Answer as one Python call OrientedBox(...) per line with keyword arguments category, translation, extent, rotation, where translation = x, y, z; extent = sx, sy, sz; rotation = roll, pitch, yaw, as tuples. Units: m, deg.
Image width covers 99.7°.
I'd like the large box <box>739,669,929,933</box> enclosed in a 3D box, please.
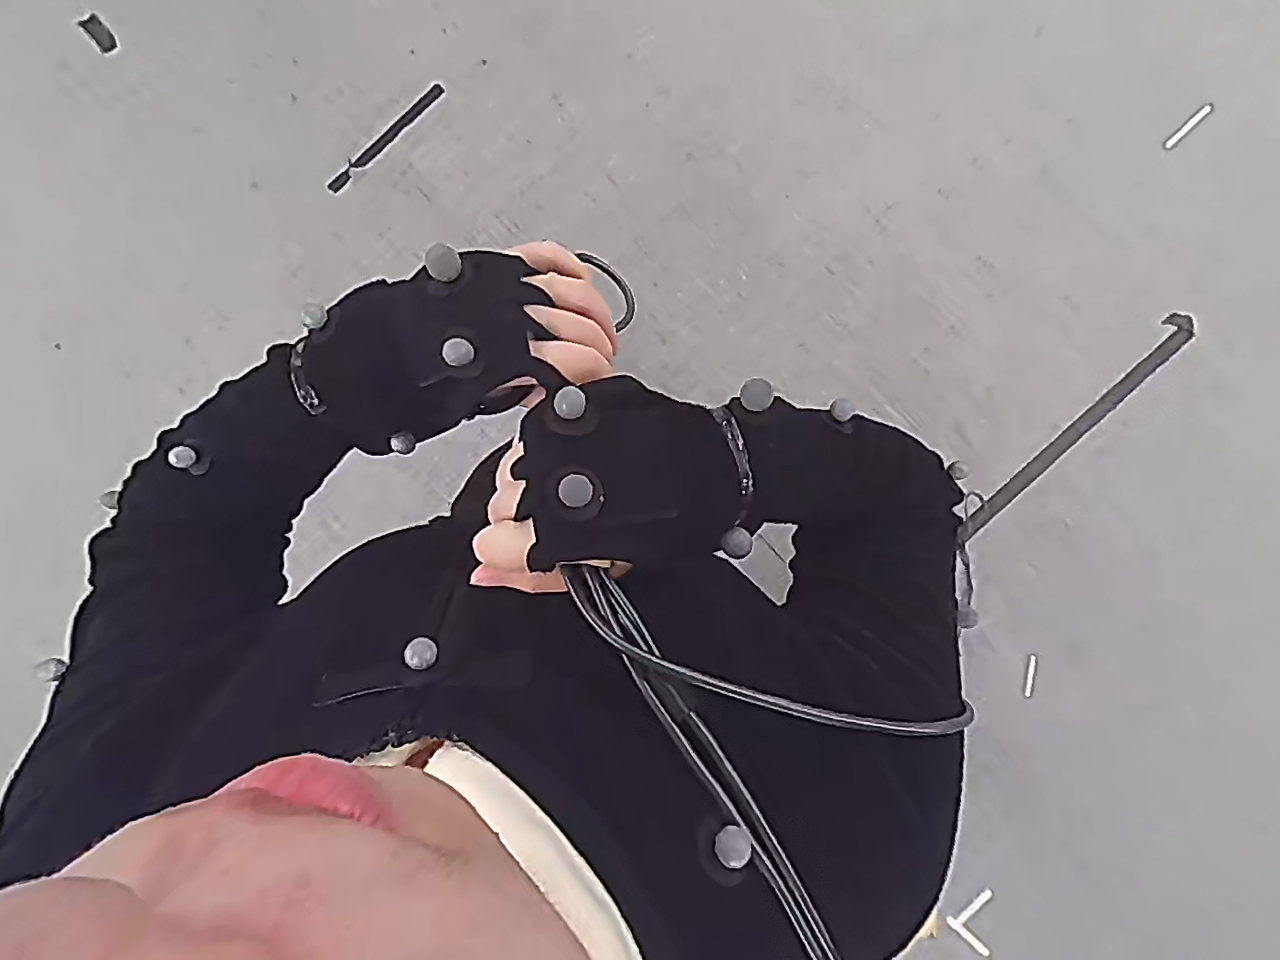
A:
OrientedBox(category="large box", translation=(0.413, 0.687, 1.214), extent=(0.320, 0.320, 0.408), rotation=(-2, 94, 0))
